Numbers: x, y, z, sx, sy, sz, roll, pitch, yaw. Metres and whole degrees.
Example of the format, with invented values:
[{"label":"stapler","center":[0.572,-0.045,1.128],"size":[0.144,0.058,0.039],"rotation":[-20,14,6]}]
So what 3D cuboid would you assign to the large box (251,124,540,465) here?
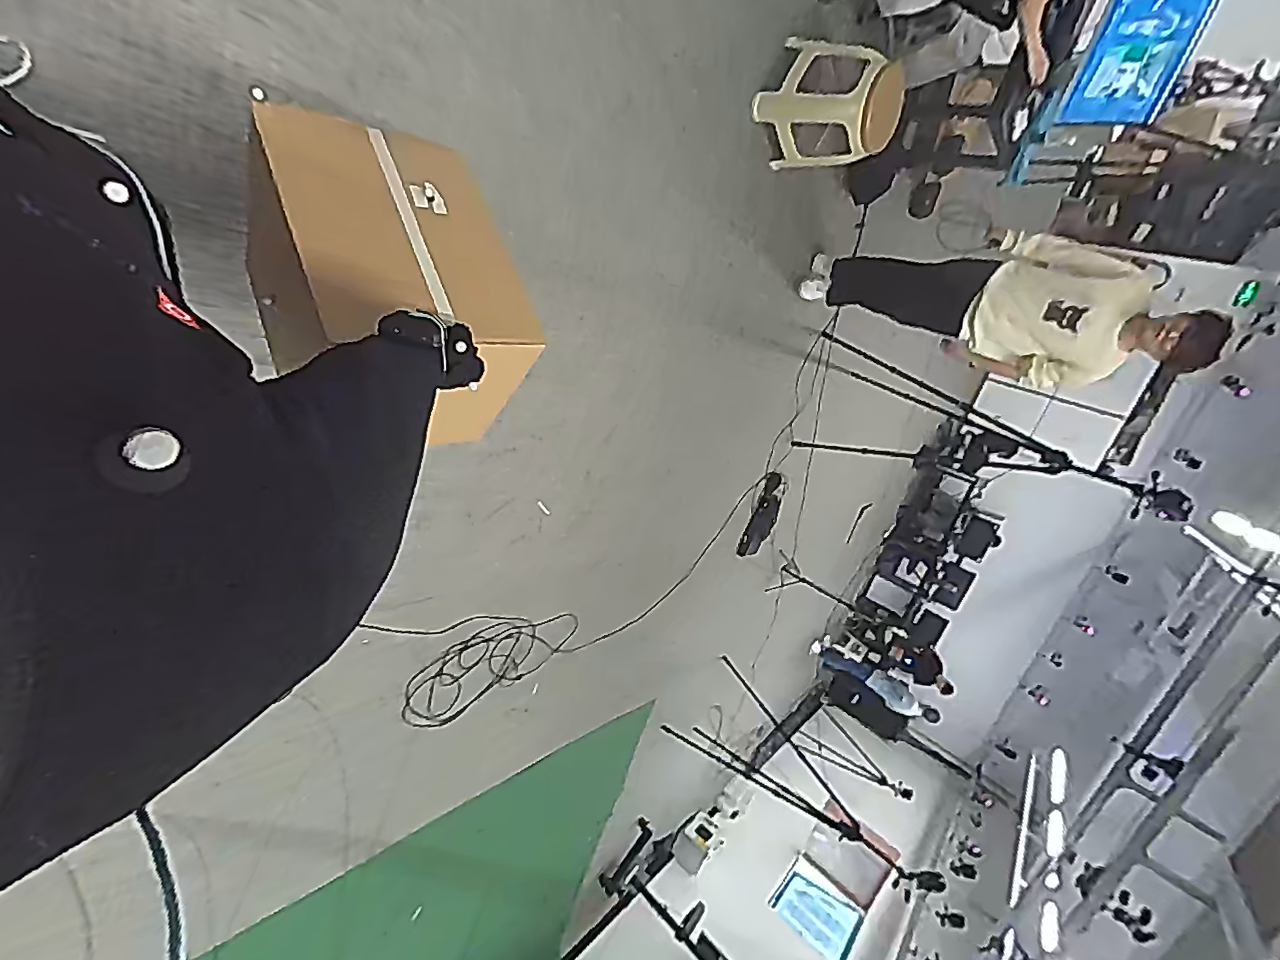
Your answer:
[{"label":"large box","center":[-0.429,-0.287,0.917],"size":[0.320,0.408,0.320],"rotation":[-12,161,-42]}]
